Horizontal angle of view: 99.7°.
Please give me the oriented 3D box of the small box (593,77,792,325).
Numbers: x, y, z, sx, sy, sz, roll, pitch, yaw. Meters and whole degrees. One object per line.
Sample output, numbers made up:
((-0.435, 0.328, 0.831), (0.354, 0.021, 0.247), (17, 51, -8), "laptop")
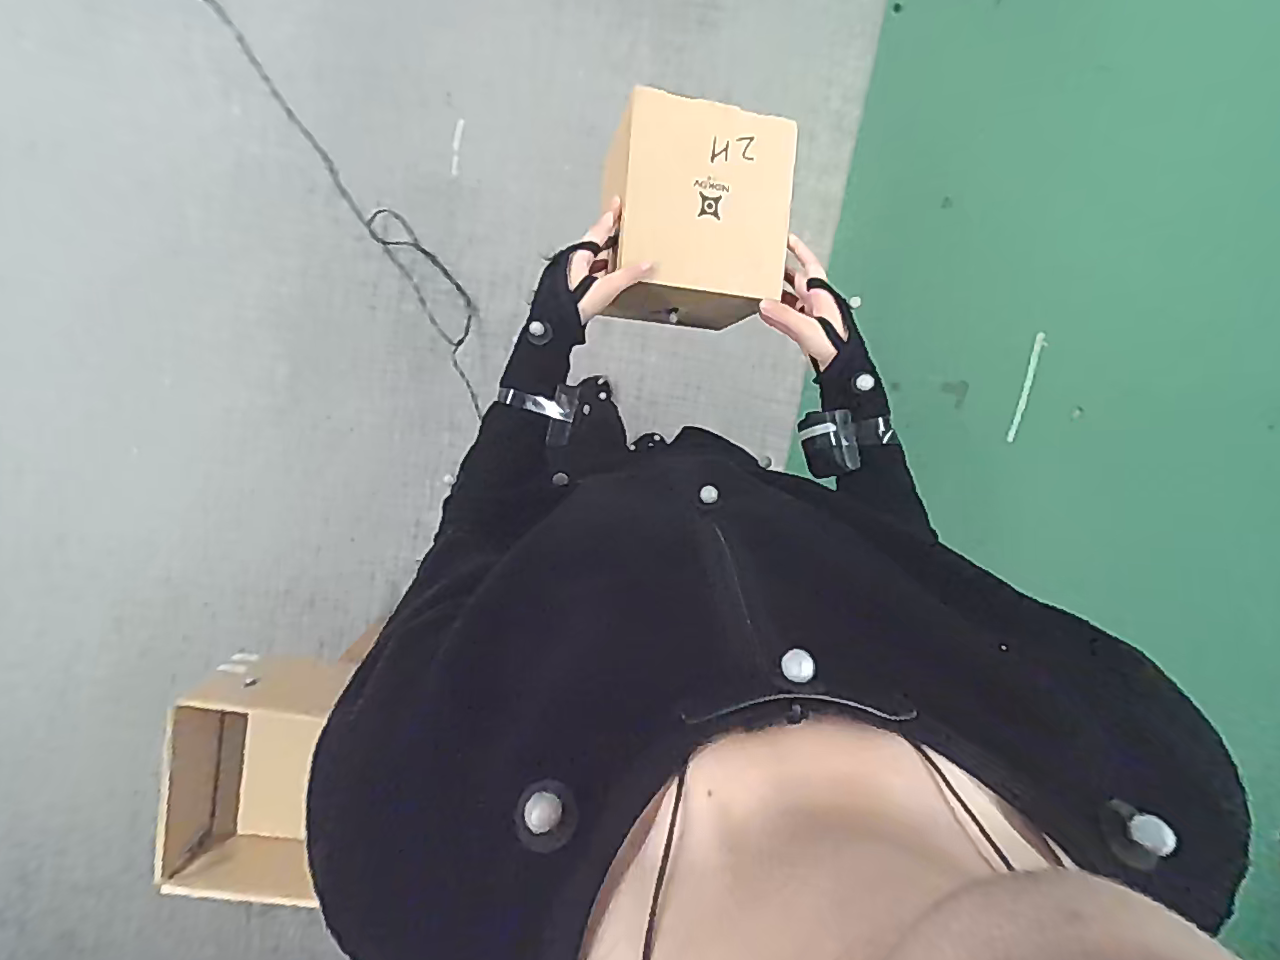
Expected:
((0.043, -0.275, 0.582), (0.168, 0.176, 0.179), (3, 93, -13), "small box")
